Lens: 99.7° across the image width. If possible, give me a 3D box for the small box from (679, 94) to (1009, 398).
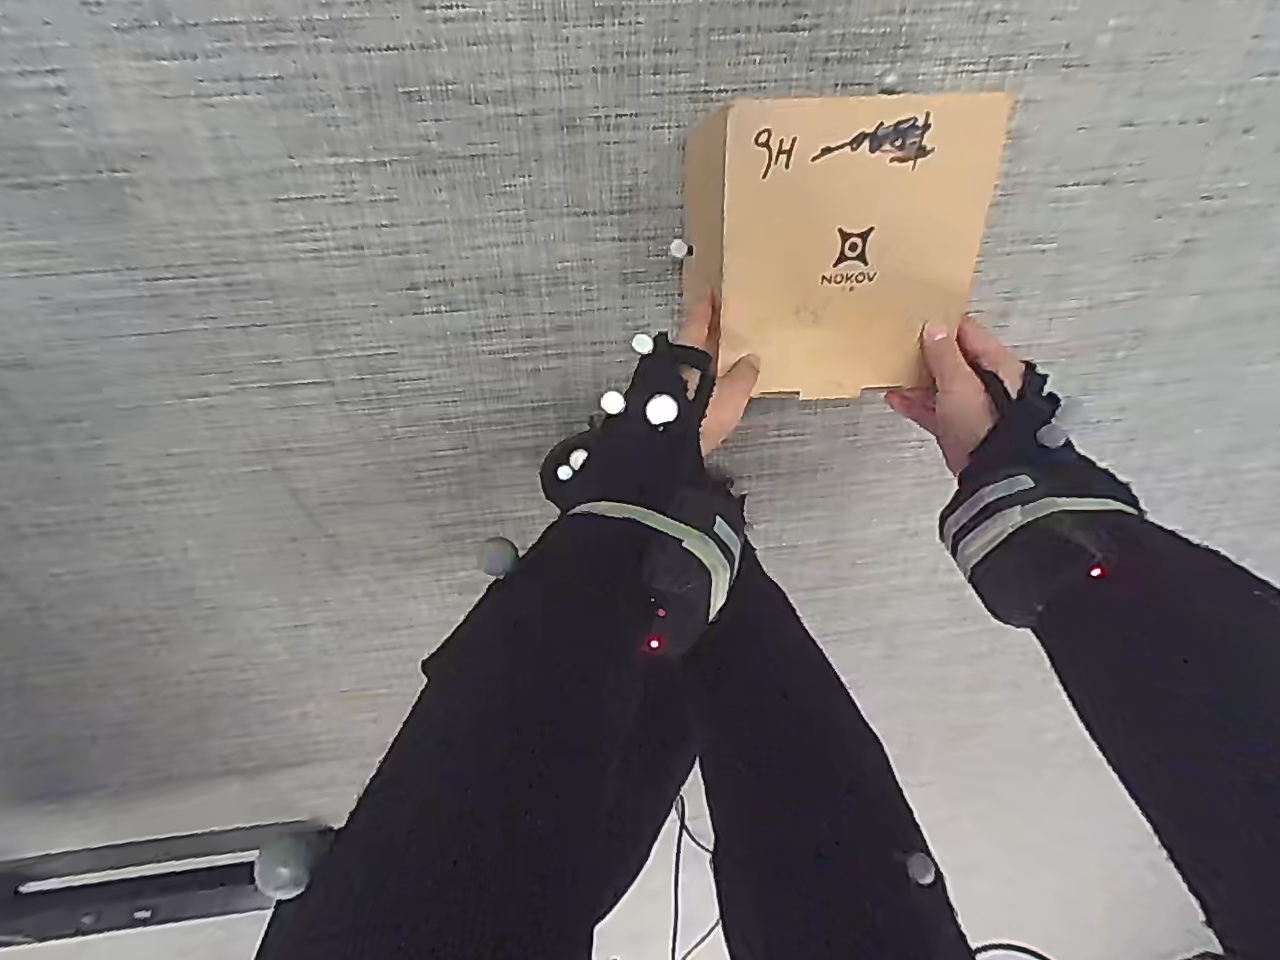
[{"bbox_3d":[0.122,-0.175,0.408,0.168,0.176,0.179,-3,119,-3],"label":"small box"}]
